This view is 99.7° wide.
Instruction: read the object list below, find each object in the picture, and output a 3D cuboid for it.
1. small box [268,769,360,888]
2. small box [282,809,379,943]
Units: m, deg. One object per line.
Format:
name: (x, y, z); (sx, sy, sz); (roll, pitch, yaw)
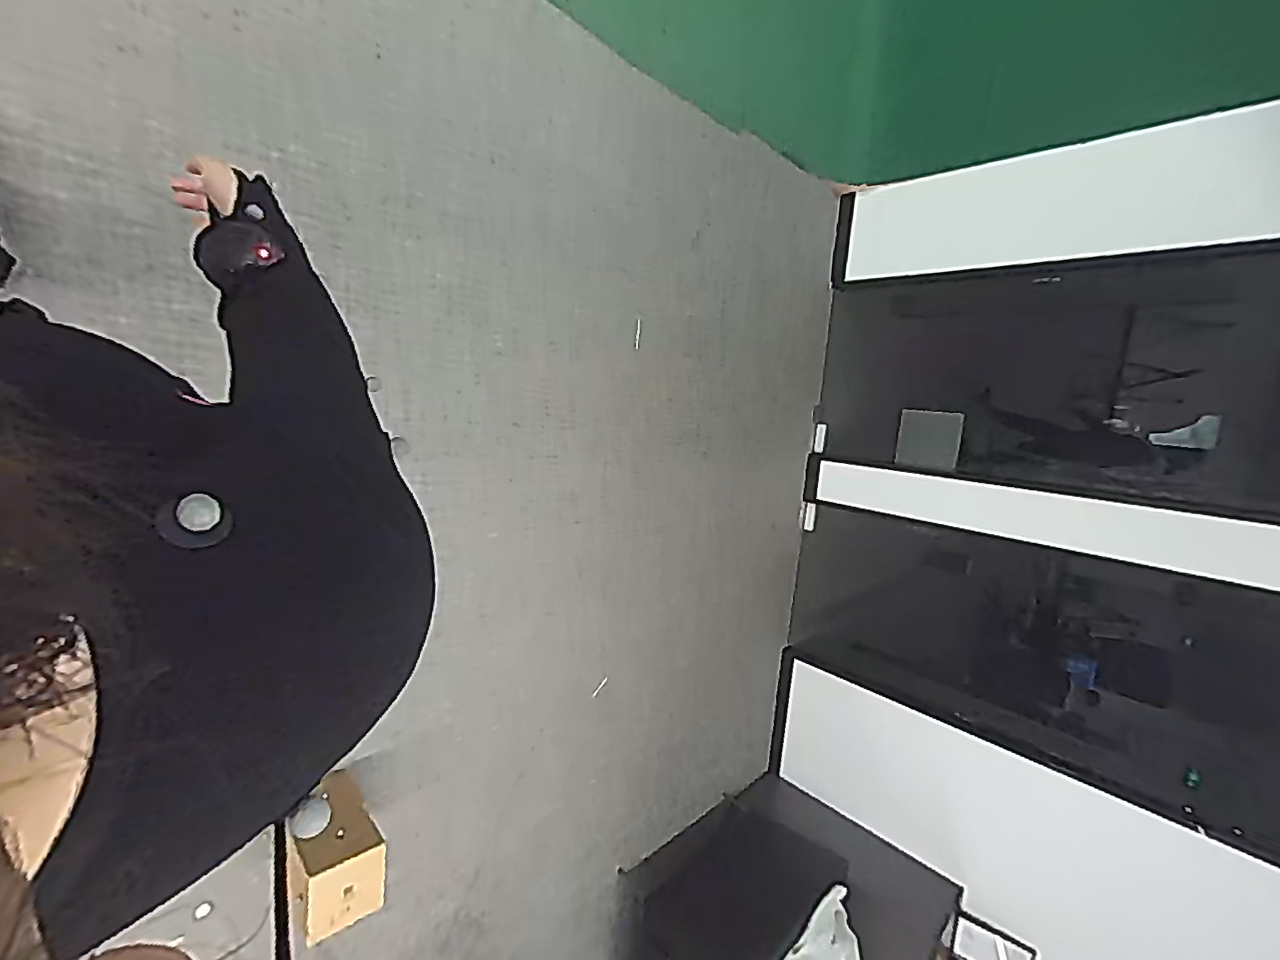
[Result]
small box: (-0.862, 0.907, 1.423); (0.179, 0.176, 0.168); (-2, 101, -47)
small box: (-0.750, 0.938, 1.306); (0.168, 0.176, 0.179); (-1, 101, -45)
